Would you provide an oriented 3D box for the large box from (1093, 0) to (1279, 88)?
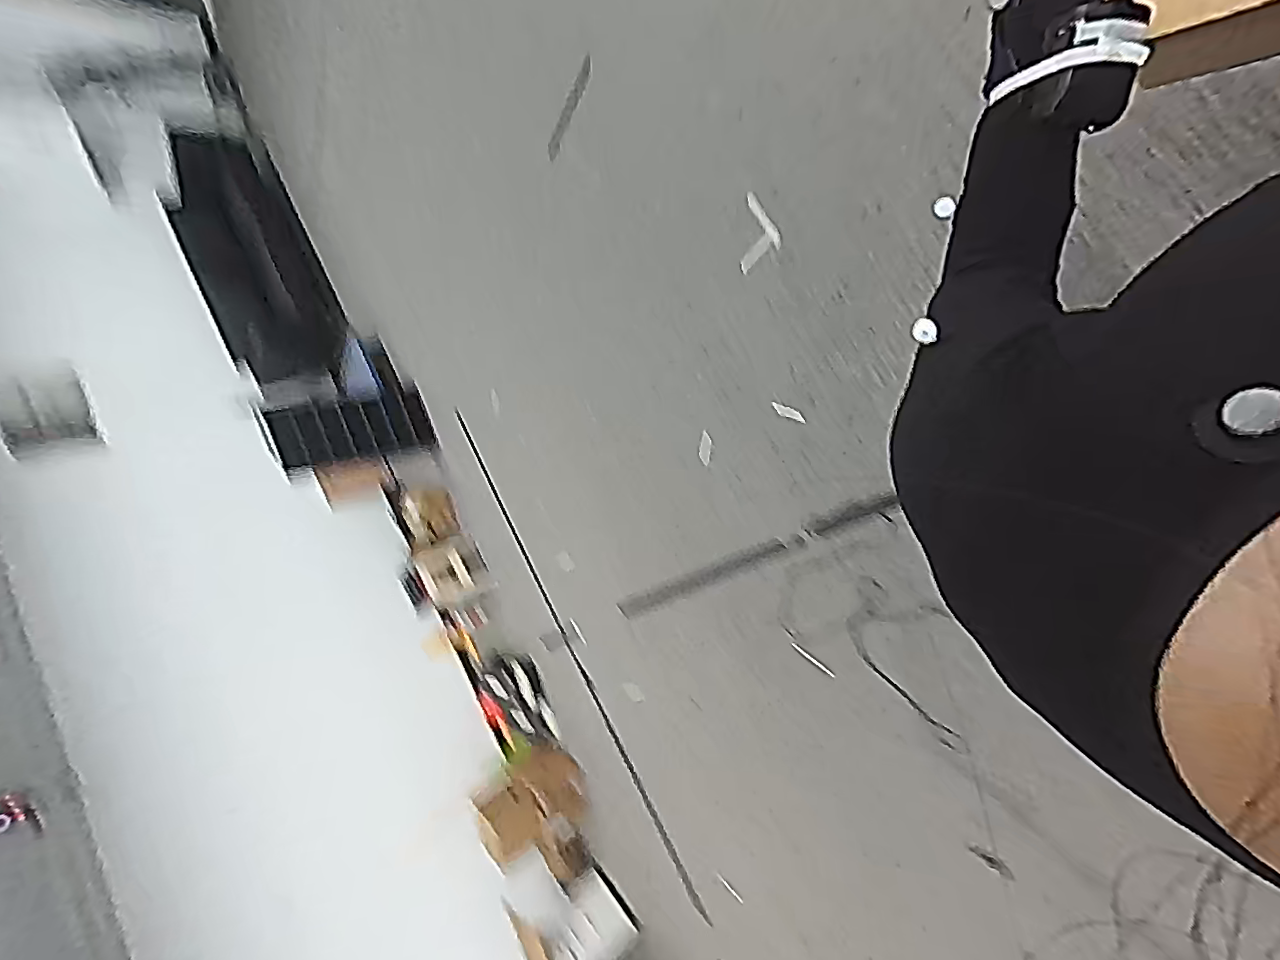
[{"bbox_3d":[0.542,-0.485,0.302,0.408,0.320,0.320,10,119,44],"label":"large box"}]
